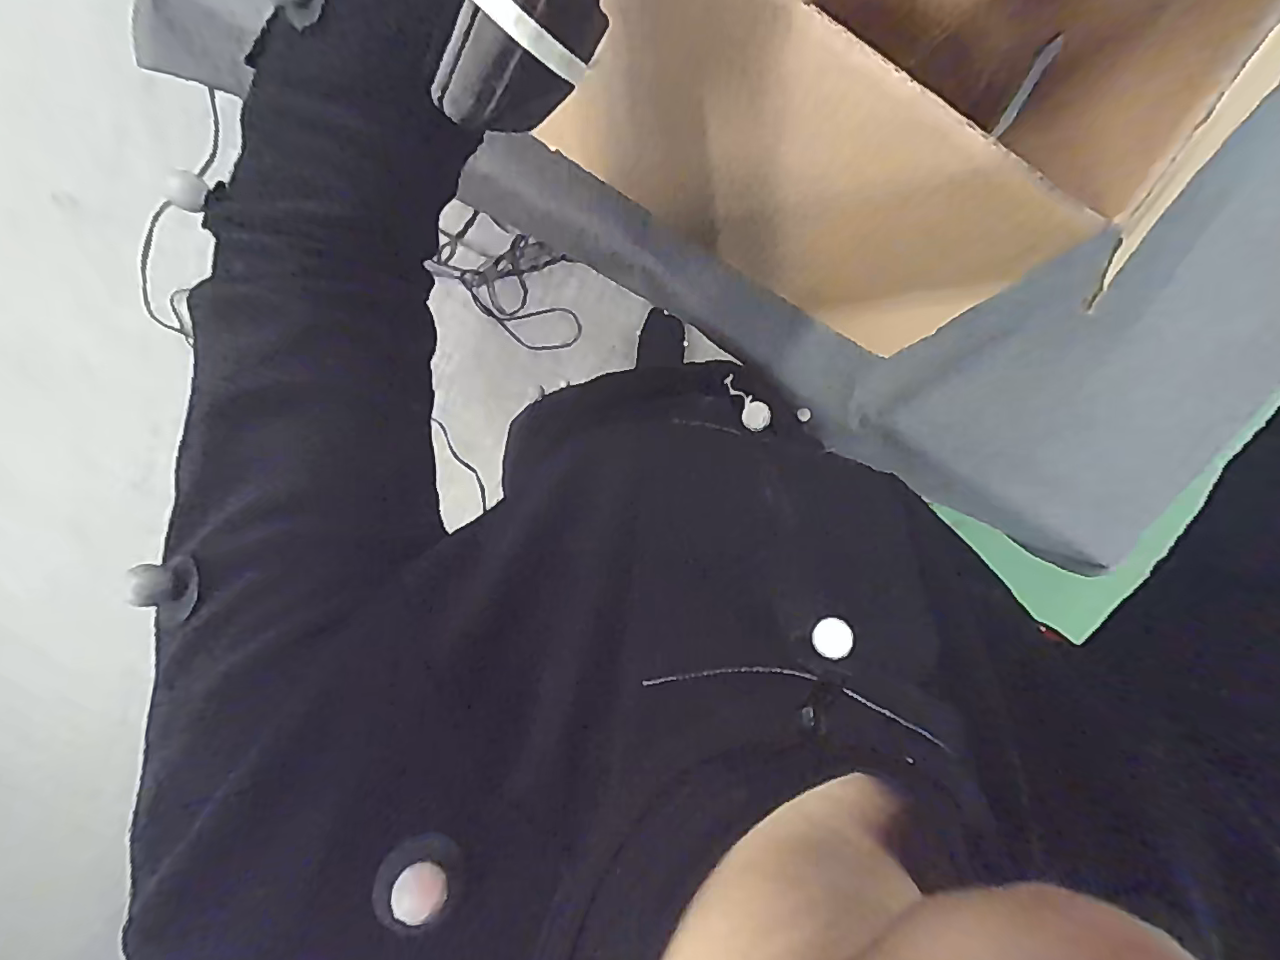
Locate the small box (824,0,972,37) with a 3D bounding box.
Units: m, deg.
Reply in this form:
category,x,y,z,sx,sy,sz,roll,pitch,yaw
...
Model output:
category,x,y,z,sx,sy,sz,roll,pitch,yaw
small box,0.146,-0.356,0.246,0.179,0.176,0.168,27,104,-9
